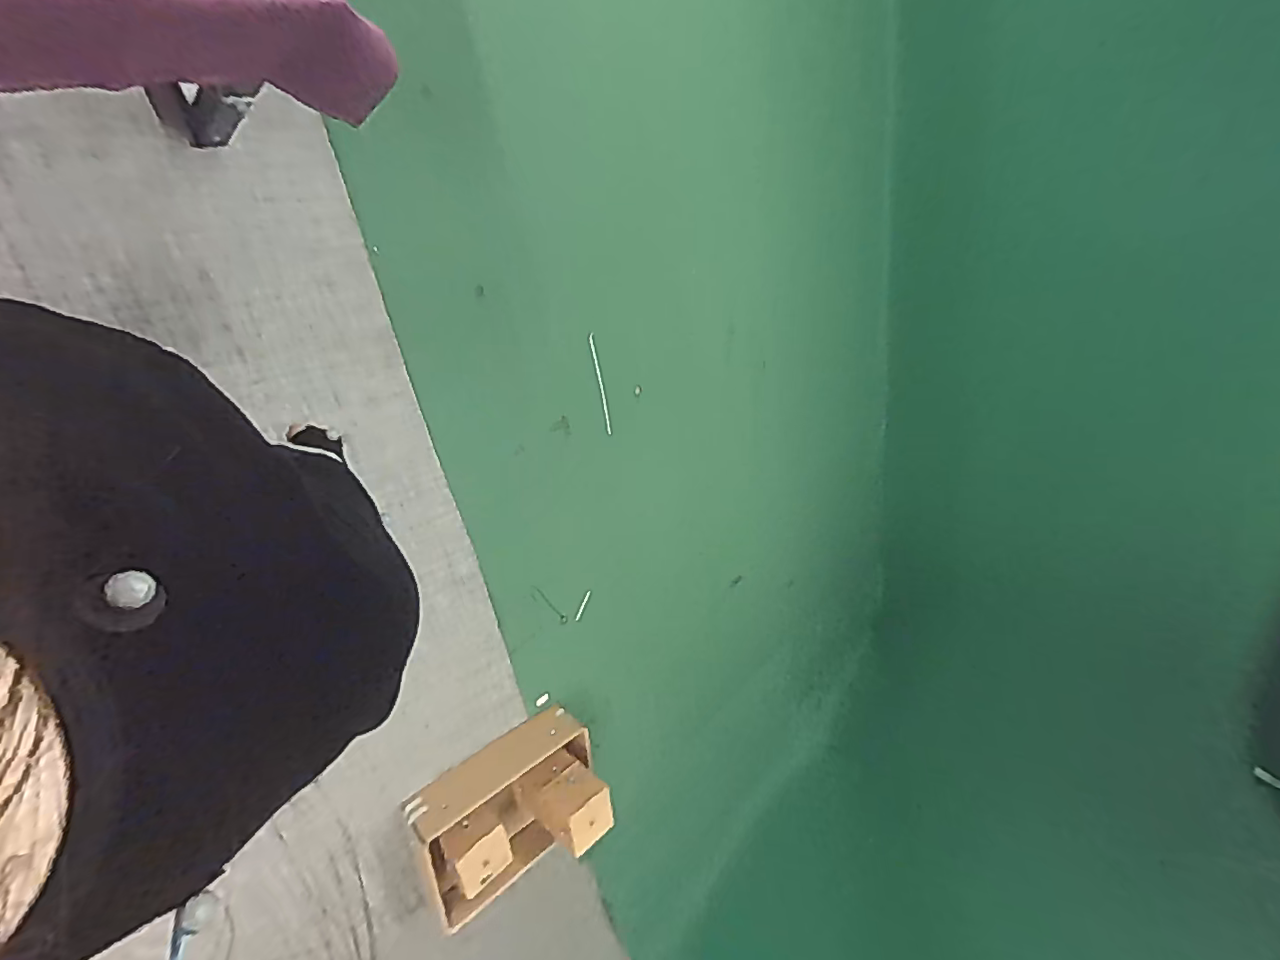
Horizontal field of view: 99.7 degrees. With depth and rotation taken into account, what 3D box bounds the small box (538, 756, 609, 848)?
[{"bbox_3d":[-0.229,1.096,1.857,0.168,0.176,0.179,-22,114,-40],"label":"small box"}]
